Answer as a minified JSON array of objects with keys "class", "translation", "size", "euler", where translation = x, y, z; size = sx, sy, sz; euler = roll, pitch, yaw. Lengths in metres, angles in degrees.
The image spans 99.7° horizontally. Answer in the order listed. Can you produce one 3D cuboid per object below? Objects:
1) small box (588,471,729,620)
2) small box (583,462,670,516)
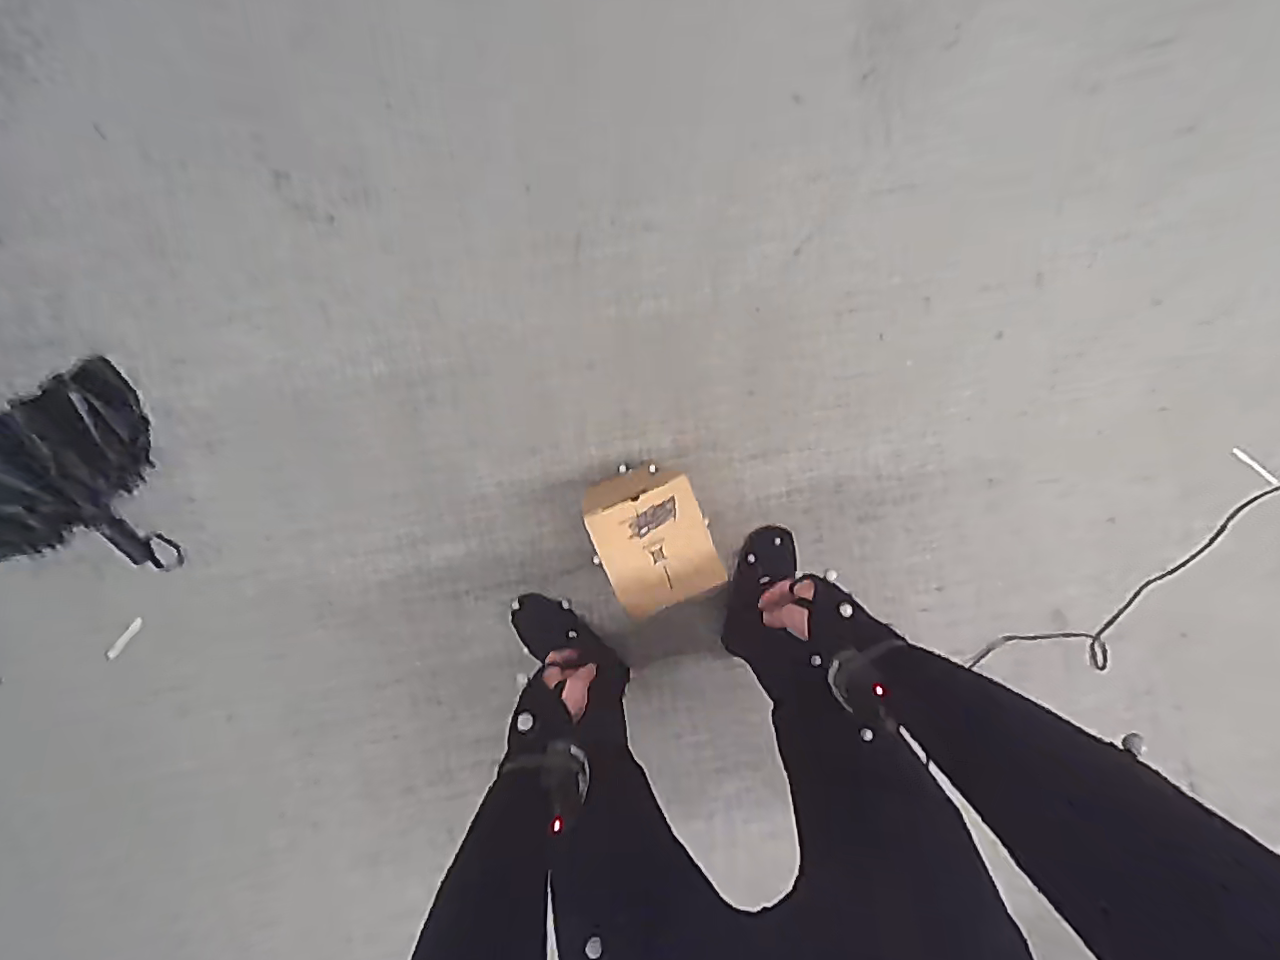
[{"class":"small box","translation":[0.022,0.093,0.880],"size":[0.168,0.176,0.179],"euler":[-24,98,-1]},{"class":"small box","translation":[0.003,0.076,1.042],"size":[0.168,0.176,0.179],"euler":[-24,96,-2]}]
